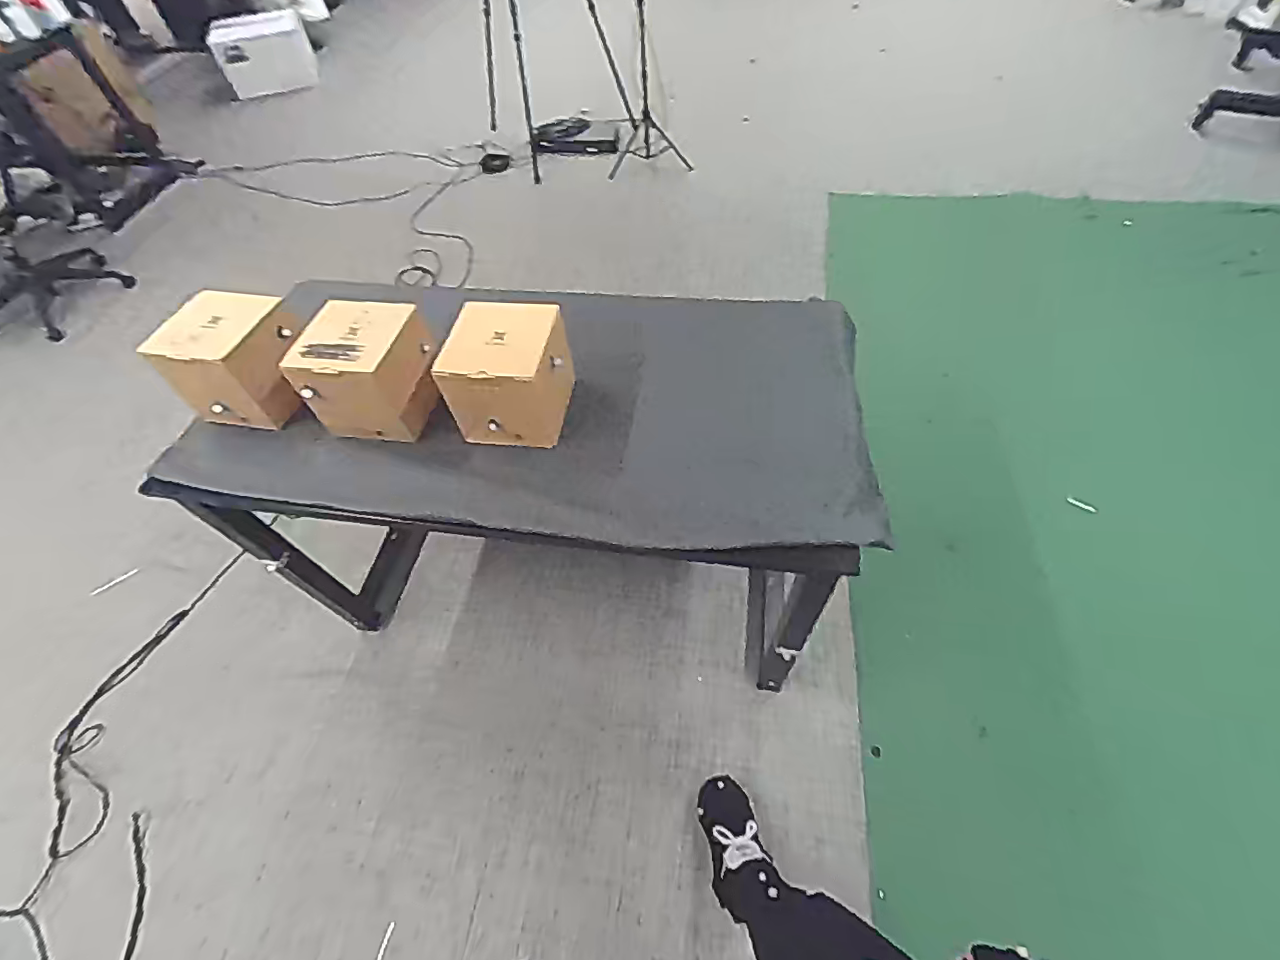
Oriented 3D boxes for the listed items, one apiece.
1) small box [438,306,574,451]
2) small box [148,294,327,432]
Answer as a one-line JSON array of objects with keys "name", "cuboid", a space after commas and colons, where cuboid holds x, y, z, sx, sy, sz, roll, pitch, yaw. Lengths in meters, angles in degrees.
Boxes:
[{"name": "small box", "cuboid": [-0.217, -0.174, 0.934, 0.168, 0.176, 0.179, 5, 56, 8]}, {"name": "small box", "cuboid": [-0.720, -0.215, 0.997, 0.168, 0.176, 0.179, 8, 54, 10]}]
